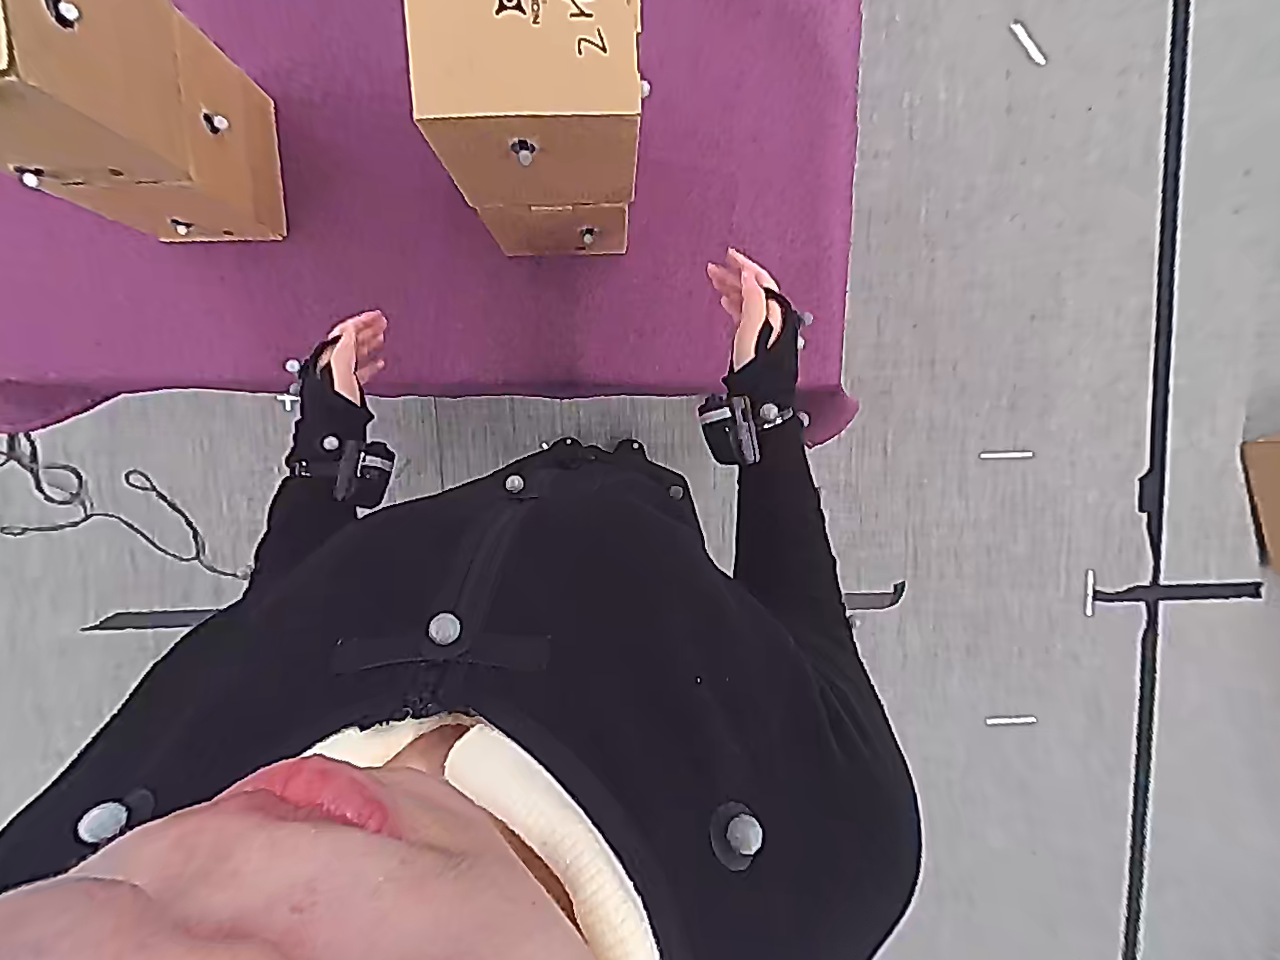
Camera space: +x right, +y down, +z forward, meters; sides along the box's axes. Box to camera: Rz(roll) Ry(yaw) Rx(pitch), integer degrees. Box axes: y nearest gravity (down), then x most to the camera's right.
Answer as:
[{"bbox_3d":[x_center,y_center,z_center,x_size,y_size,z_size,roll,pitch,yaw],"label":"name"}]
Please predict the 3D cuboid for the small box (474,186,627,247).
[{"bbox_3d":[-0.099,-0.389,0.644,0.168,0.176,0.179,-1,96,-3],"label":"small box"}]

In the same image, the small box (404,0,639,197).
[{"bbox_3d":[-0.092,-0.369,0.481,0.179,0.176,0.168,-3,97,-3],"label":"small box"}]

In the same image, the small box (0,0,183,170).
[{"bbox_3d":[-0.541,-0.386,0.461,0.168,0.176,0.179,-4,96,-3],"label":"small box"}]

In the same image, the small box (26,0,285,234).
[{"bbox_3d":[-0.547,-0.403,0.625,0.168,0.176,0.179,-2,97,-3],"label":"small box"}]
